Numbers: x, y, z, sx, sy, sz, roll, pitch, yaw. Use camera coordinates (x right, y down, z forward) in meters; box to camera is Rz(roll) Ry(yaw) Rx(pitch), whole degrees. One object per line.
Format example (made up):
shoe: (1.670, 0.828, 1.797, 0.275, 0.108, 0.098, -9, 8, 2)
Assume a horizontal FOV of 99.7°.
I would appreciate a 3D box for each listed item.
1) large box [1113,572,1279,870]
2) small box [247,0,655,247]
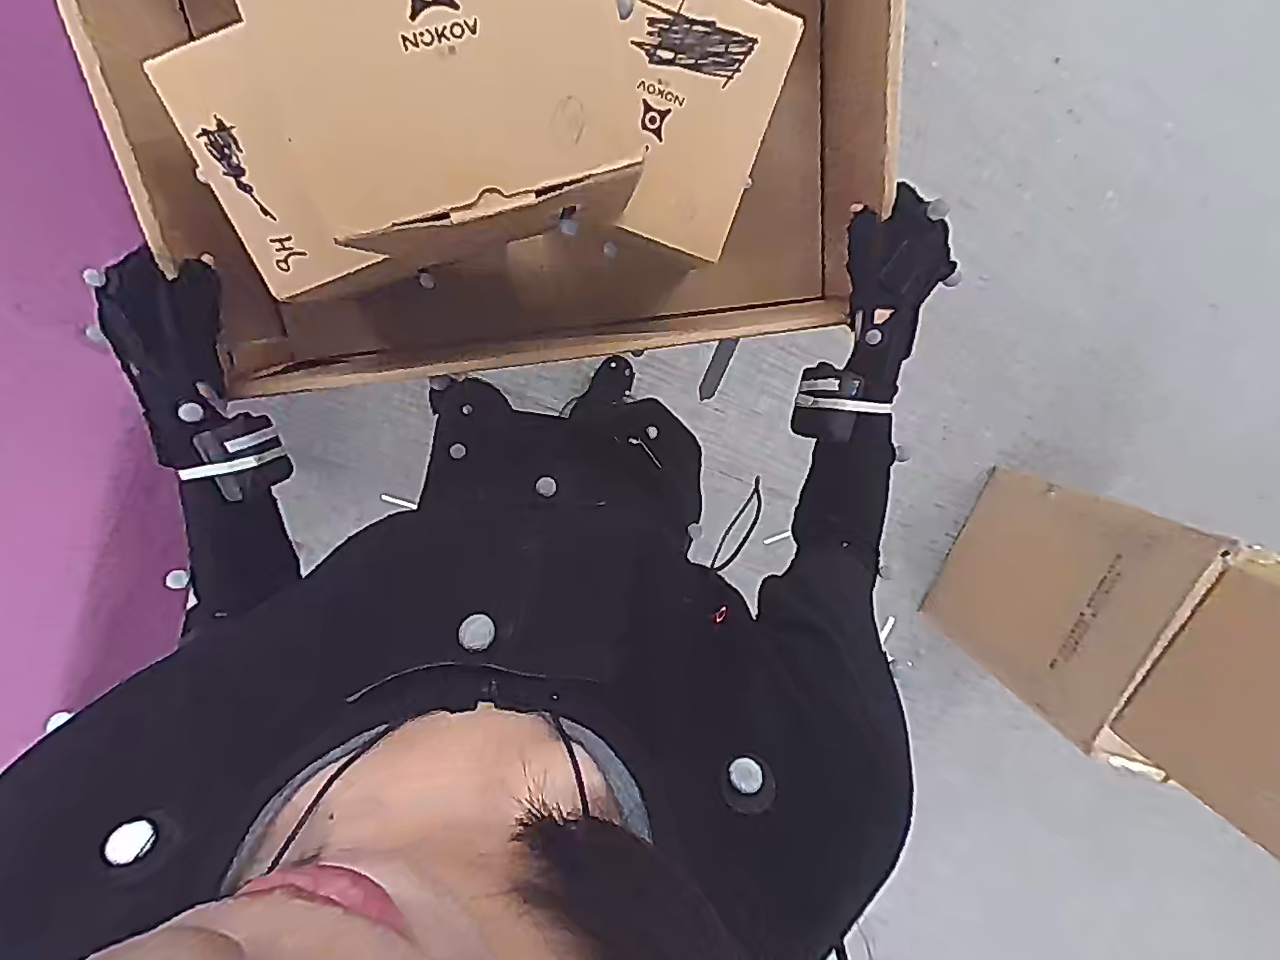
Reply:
large box: (1.184, 0.436, 0.946, 0.320, 0.320, 0.408, 22, 103, -9)
small box: (-0.095, -0.243, 0.311, 0.168, 0.176, 0.179, -15, 109, -2)
